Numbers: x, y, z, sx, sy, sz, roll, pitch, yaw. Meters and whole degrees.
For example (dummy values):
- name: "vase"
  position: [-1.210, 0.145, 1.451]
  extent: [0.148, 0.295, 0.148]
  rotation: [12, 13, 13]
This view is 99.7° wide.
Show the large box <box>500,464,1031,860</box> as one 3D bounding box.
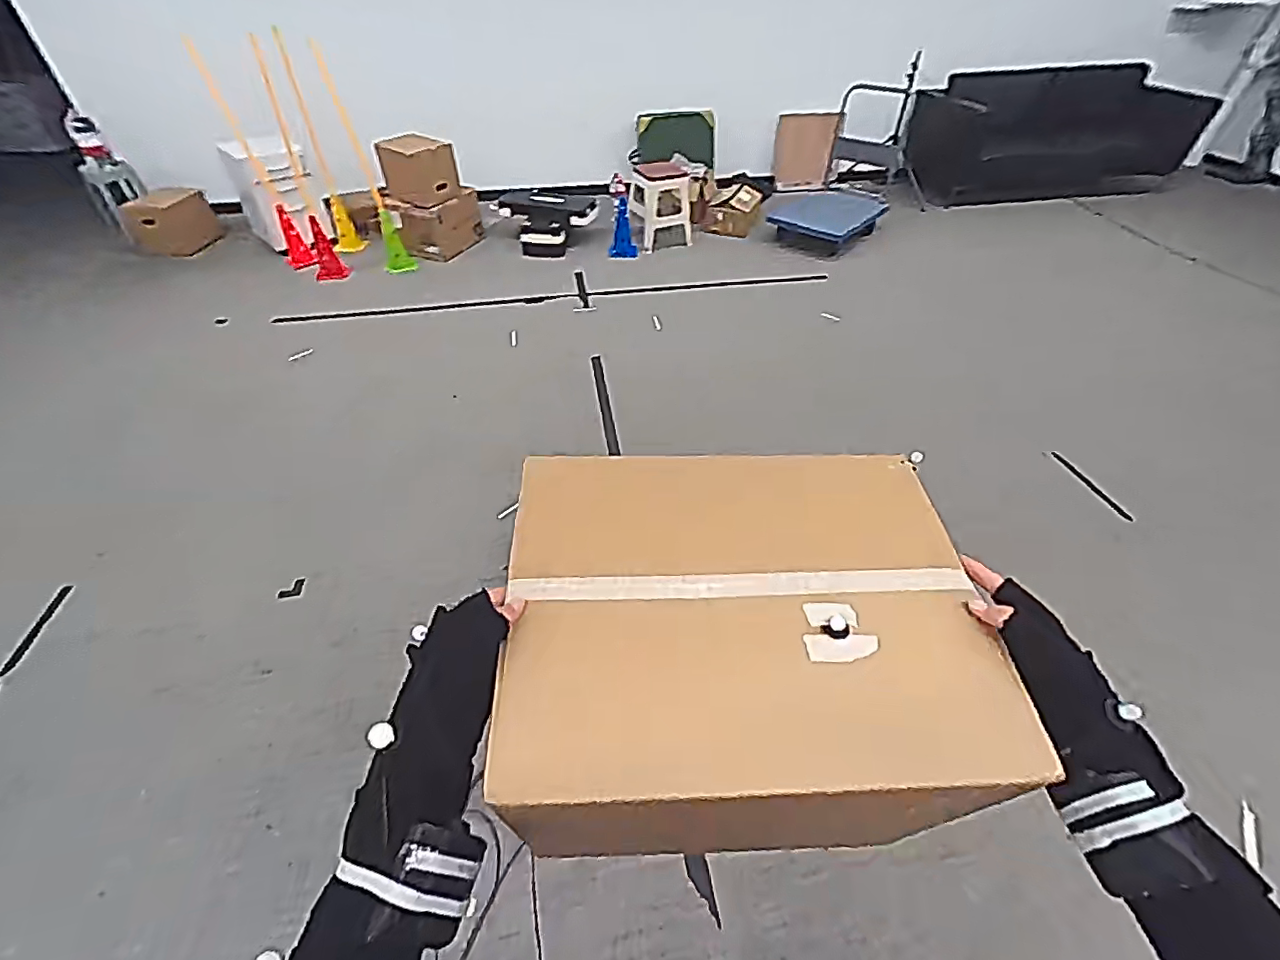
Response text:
- name: "large box"
  position: [0.081, 0.199, 0.596]
  extent: [0.408, 0.320, 0.320]
  rotation: [-1, 49, -4]
